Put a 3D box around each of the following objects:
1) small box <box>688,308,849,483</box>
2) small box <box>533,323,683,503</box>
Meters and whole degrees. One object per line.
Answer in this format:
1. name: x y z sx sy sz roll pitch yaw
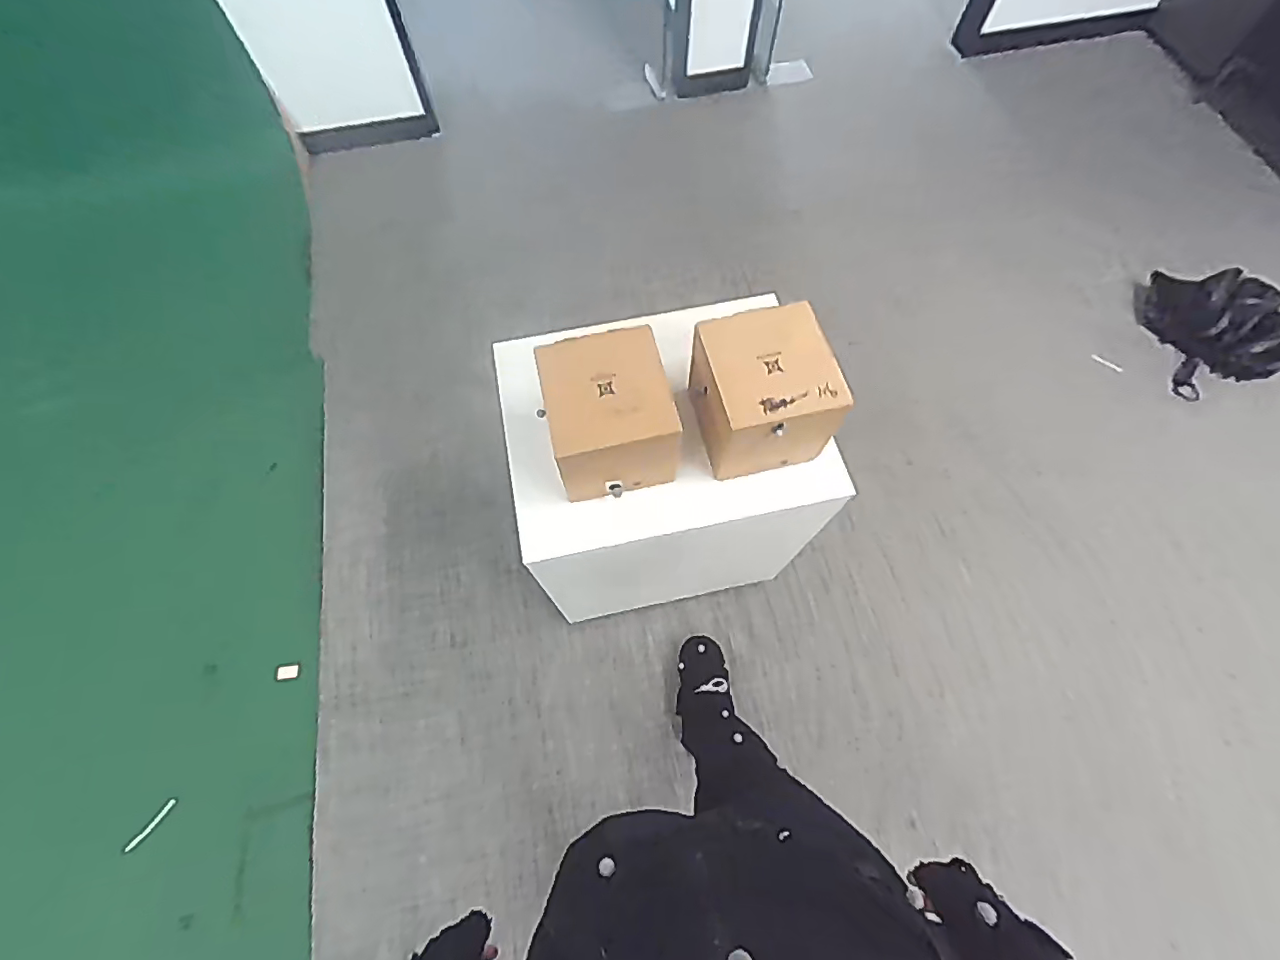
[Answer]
1. small box: 0.171 -0.118 0.793 0.168 0.176 0.179 -12 66 -5
2. small box: -0.046 -0.089 0.768 0.168 0.176 0.179 -14 69 -5
